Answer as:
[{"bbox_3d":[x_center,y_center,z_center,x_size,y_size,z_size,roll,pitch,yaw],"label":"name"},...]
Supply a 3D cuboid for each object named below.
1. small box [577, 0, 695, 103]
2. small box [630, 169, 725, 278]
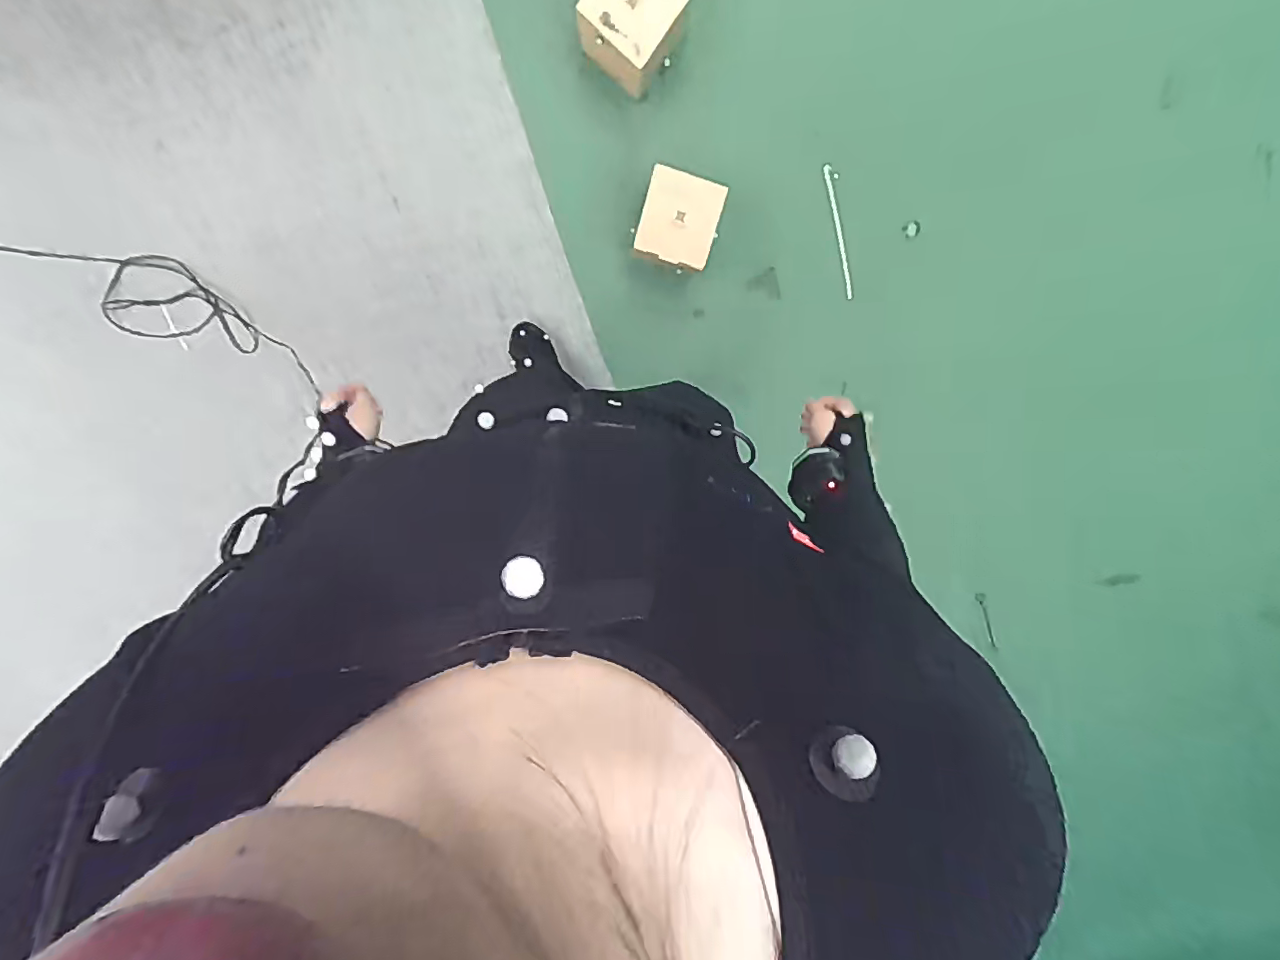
[{"bbox_3d":[-0.013,-0.943,1.123,0.168,0.176,0.179,38,102,-12],"label":"small box"},{"bbox_3d":[0.078,-0.576,1.241,0.168,0.176,0.179,15,105,-8],"label":"small box"}]
